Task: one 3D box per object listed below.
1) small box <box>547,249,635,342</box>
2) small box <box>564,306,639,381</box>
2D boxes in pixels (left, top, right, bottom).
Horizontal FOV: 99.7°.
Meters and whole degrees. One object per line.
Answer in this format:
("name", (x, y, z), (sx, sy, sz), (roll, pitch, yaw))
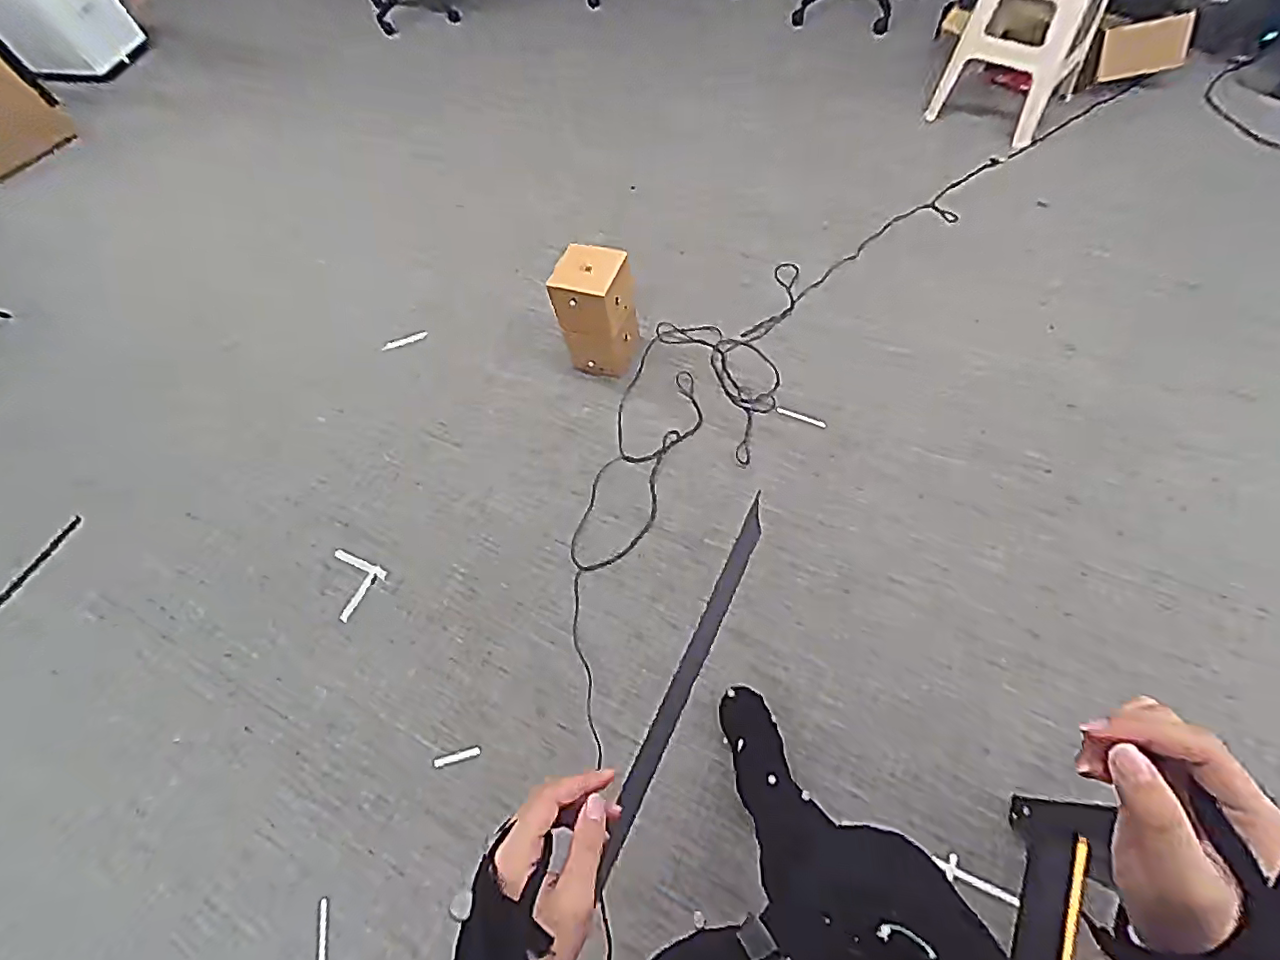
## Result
("small box", (-0.126, -0.508, 1.502), (0.179, 0.176, 0.168), (16, 66, 17))
("small box", (-0.109, -0.433, 1.646), (0.168, 0.176, 0.179), (14, 66, 16))
